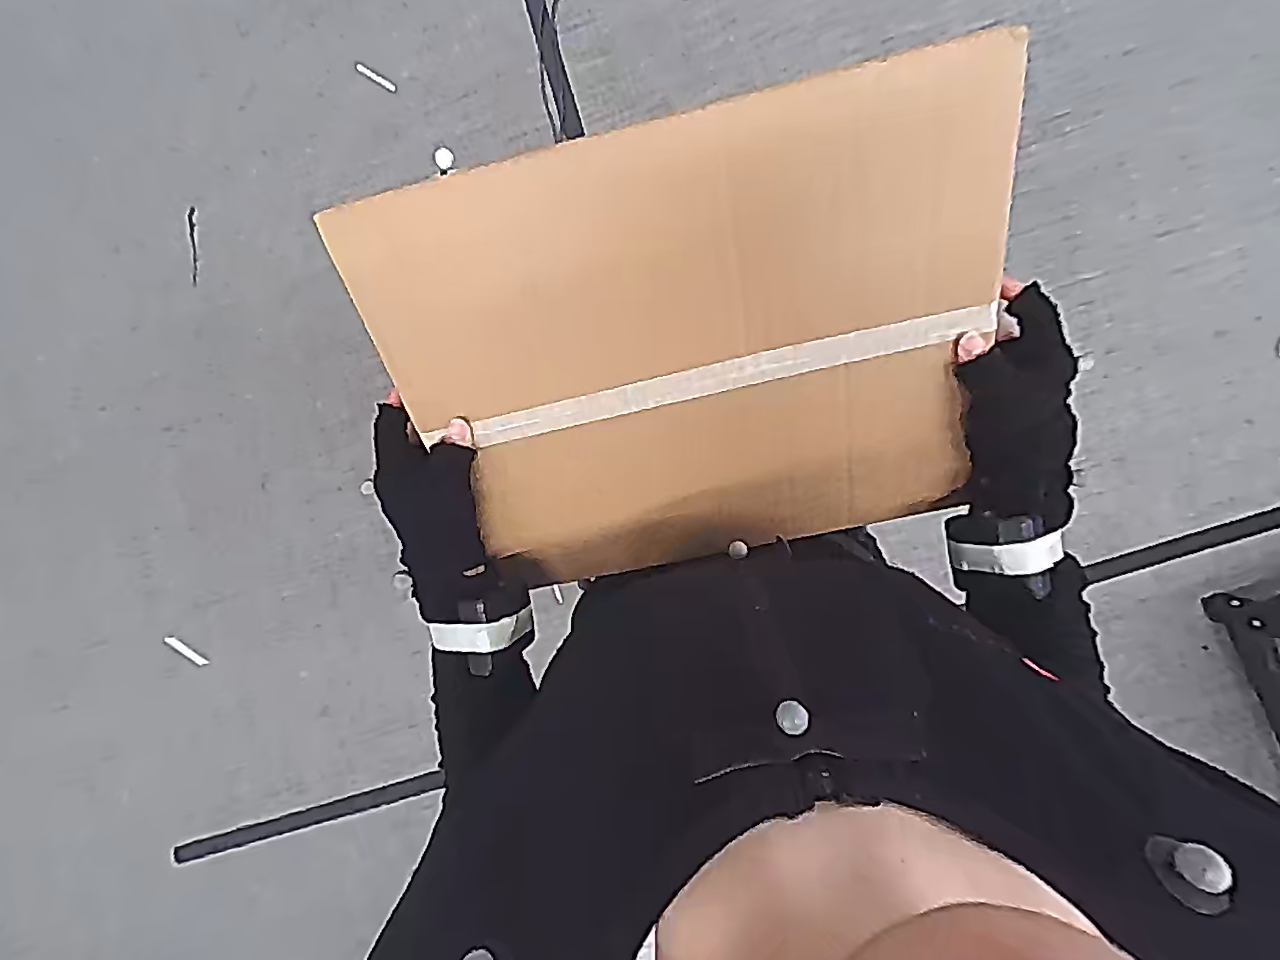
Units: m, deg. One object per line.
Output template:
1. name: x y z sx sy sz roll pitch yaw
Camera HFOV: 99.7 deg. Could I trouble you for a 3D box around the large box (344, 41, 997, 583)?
1. large box: 0.033 -0.150 0.519 0.408 0.320 0.320 -12 122 5
